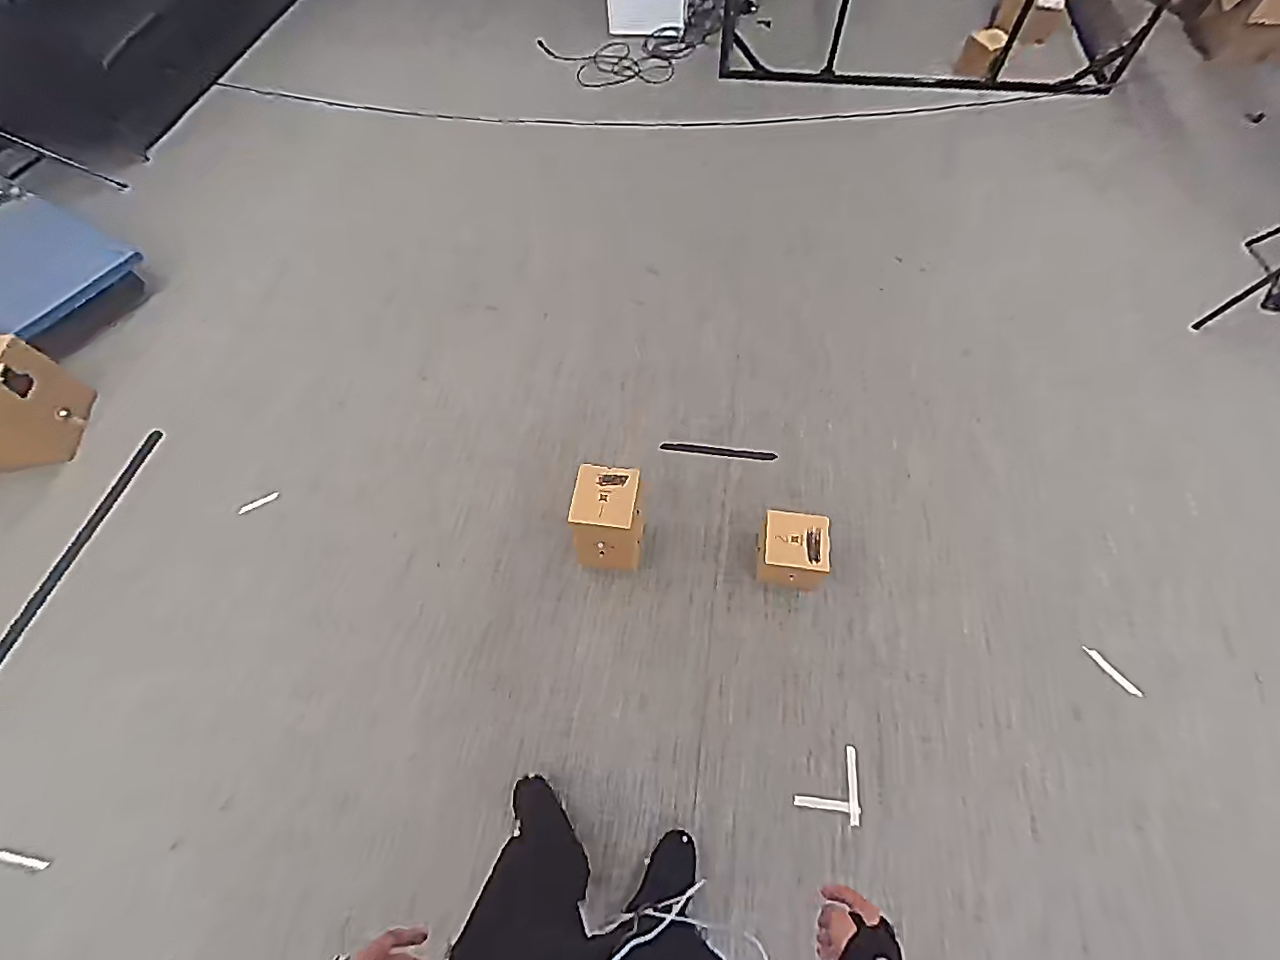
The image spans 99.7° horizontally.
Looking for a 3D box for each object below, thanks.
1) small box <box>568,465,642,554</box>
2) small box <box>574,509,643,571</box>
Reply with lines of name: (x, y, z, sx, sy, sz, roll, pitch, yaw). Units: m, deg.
small box: (-0.088, 0.082, 1.478, 0.168, 0.176, 0.179, 7, 63, 7)
small box: (-0.087, 0.163, 1.621, 0.179, 0.176, 0.168, 6, 62, 7)
